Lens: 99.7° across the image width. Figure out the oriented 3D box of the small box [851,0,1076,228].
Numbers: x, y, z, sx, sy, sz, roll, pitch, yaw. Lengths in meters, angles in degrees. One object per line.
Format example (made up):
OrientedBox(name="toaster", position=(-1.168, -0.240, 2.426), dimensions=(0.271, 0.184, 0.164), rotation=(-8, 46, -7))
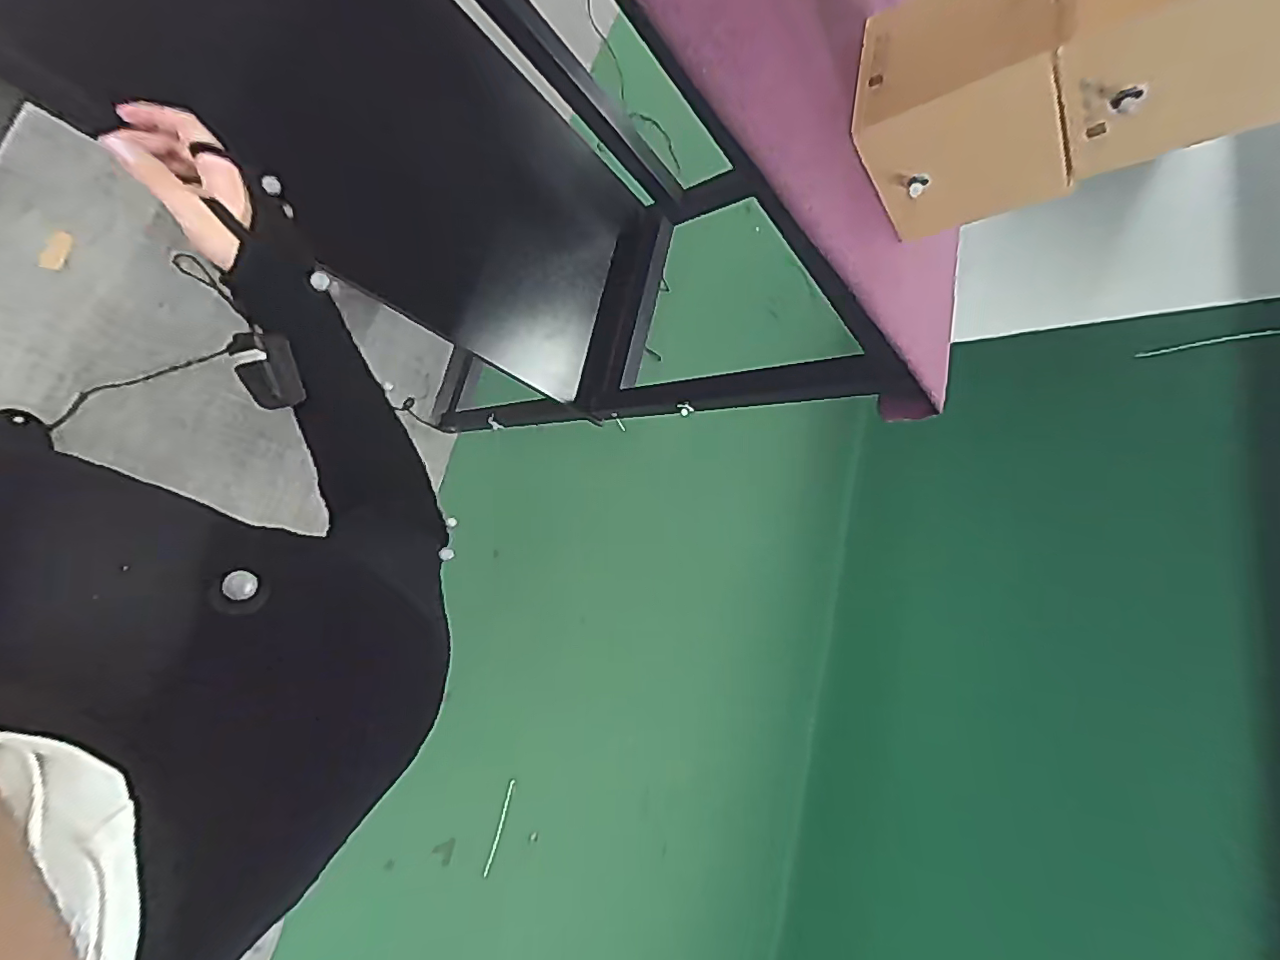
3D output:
OrientedBox(name="small box", position=(0.339, -0.393, 0.562), dimensions=(0.179, 0.176, 0.168), rotation=(27, 69, -45))
